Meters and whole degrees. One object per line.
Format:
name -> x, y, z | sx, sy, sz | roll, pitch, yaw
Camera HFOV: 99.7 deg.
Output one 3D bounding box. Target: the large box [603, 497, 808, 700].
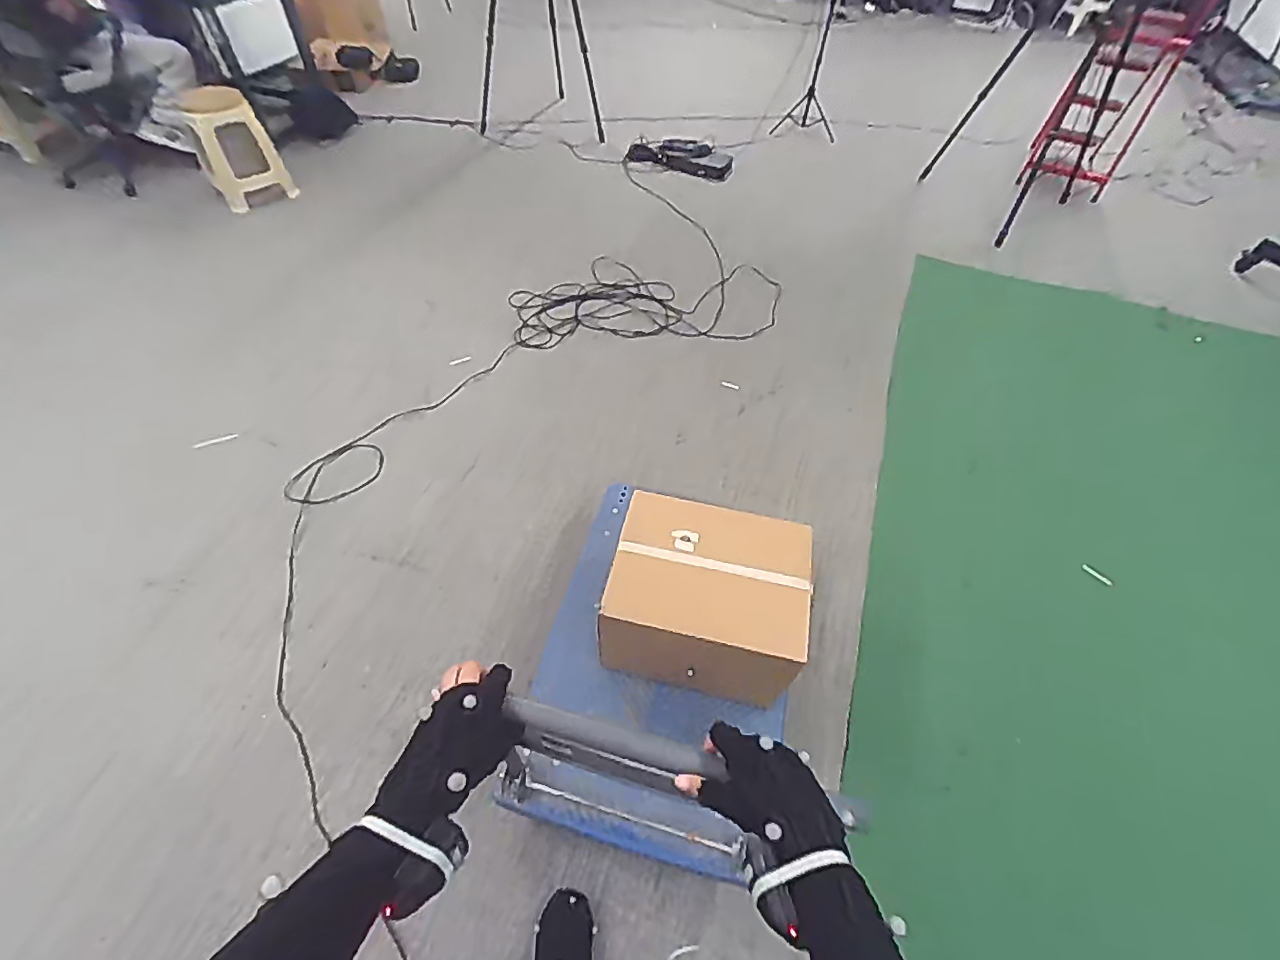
large box -> 0.150, 0.278, 1.249 | 0.408, 0.320, 0.320 | 10, 52, 7
